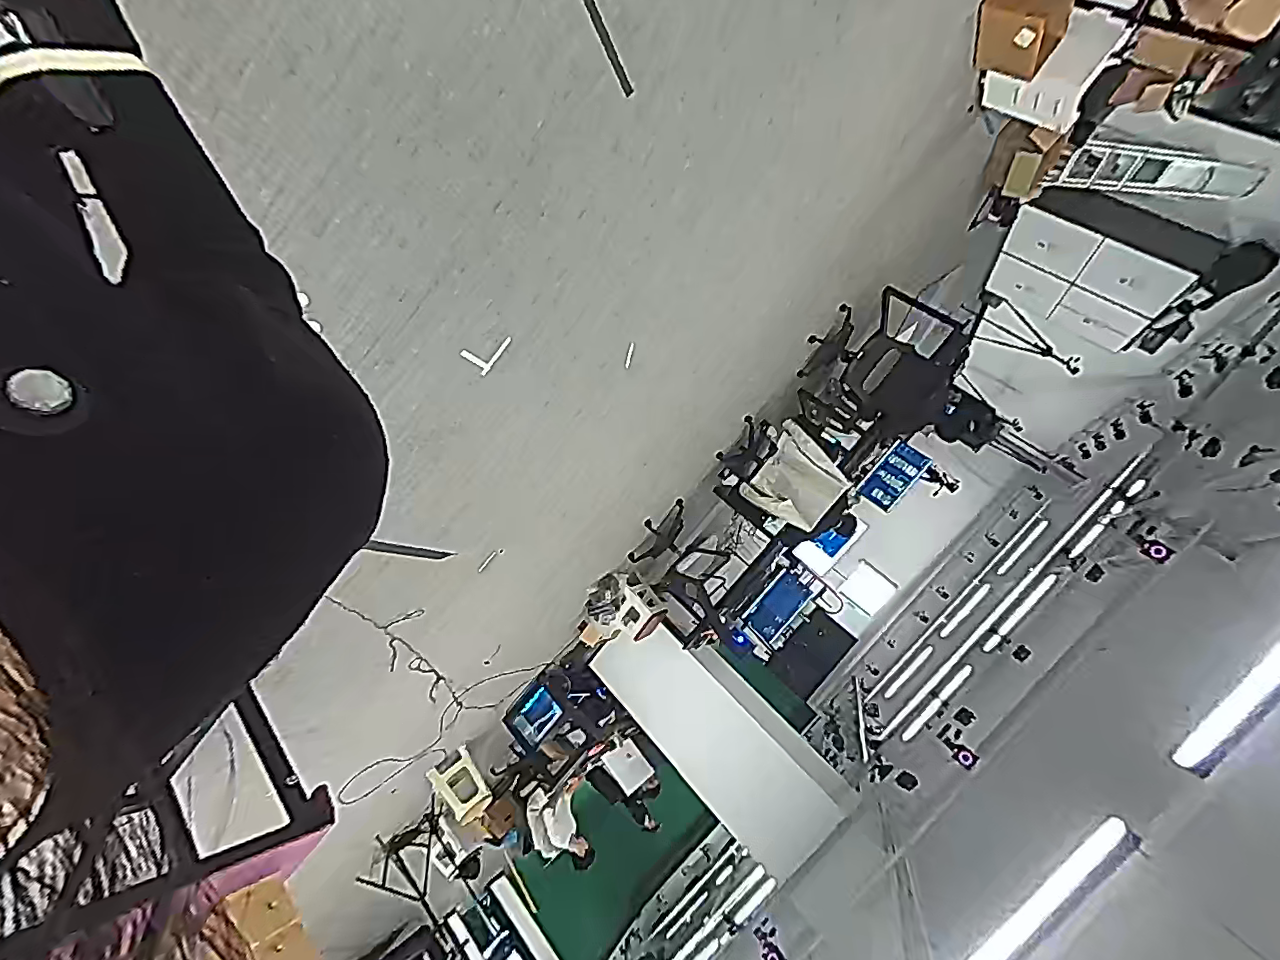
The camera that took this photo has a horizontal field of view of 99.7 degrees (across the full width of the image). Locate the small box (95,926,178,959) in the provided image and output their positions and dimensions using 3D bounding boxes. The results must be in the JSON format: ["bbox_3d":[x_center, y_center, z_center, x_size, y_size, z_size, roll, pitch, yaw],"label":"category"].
[{"bbox_3d":[-1.304,1.293,1.364,0.168,0.176,0.179,-51,155,6],"label":"small box"}]

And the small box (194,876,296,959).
[{"bbox_3d":[-1.198,1.349,1.634,0.179,0.176,0.168,-51,156,7],"label":"small box"}]

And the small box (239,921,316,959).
[{"bbox_3d":[-1.089,1.457,1.574,0.168,0.176,0.179,-51,156,9],"label":"small box"}]
